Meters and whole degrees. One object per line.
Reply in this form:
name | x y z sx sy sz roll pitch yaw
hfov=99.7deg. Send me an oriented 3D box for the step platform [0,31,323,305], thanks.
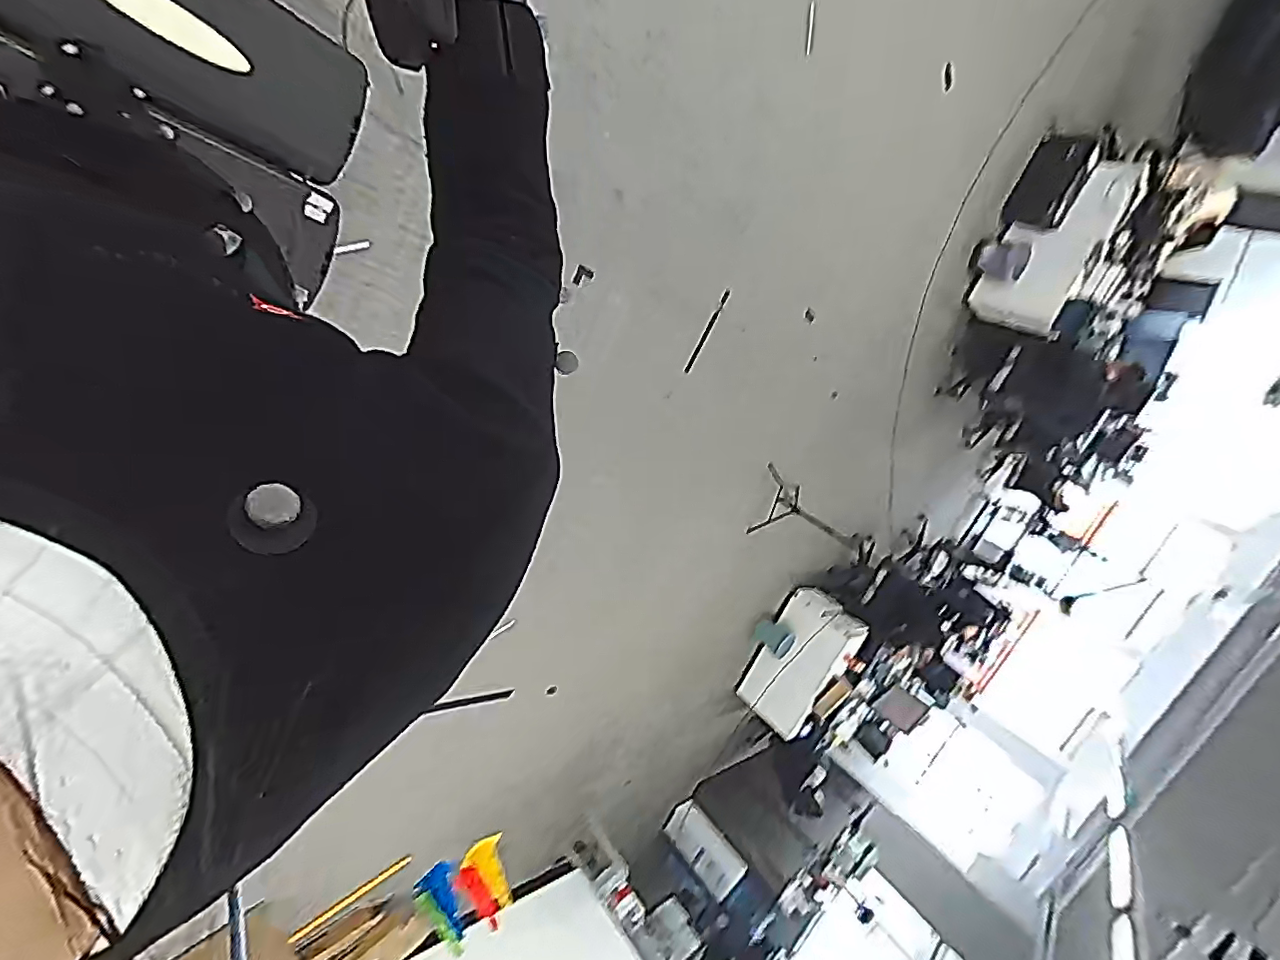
step platform | -0.997 -0.586 1.019 0.684 0.204 0.286 11 109 -47
